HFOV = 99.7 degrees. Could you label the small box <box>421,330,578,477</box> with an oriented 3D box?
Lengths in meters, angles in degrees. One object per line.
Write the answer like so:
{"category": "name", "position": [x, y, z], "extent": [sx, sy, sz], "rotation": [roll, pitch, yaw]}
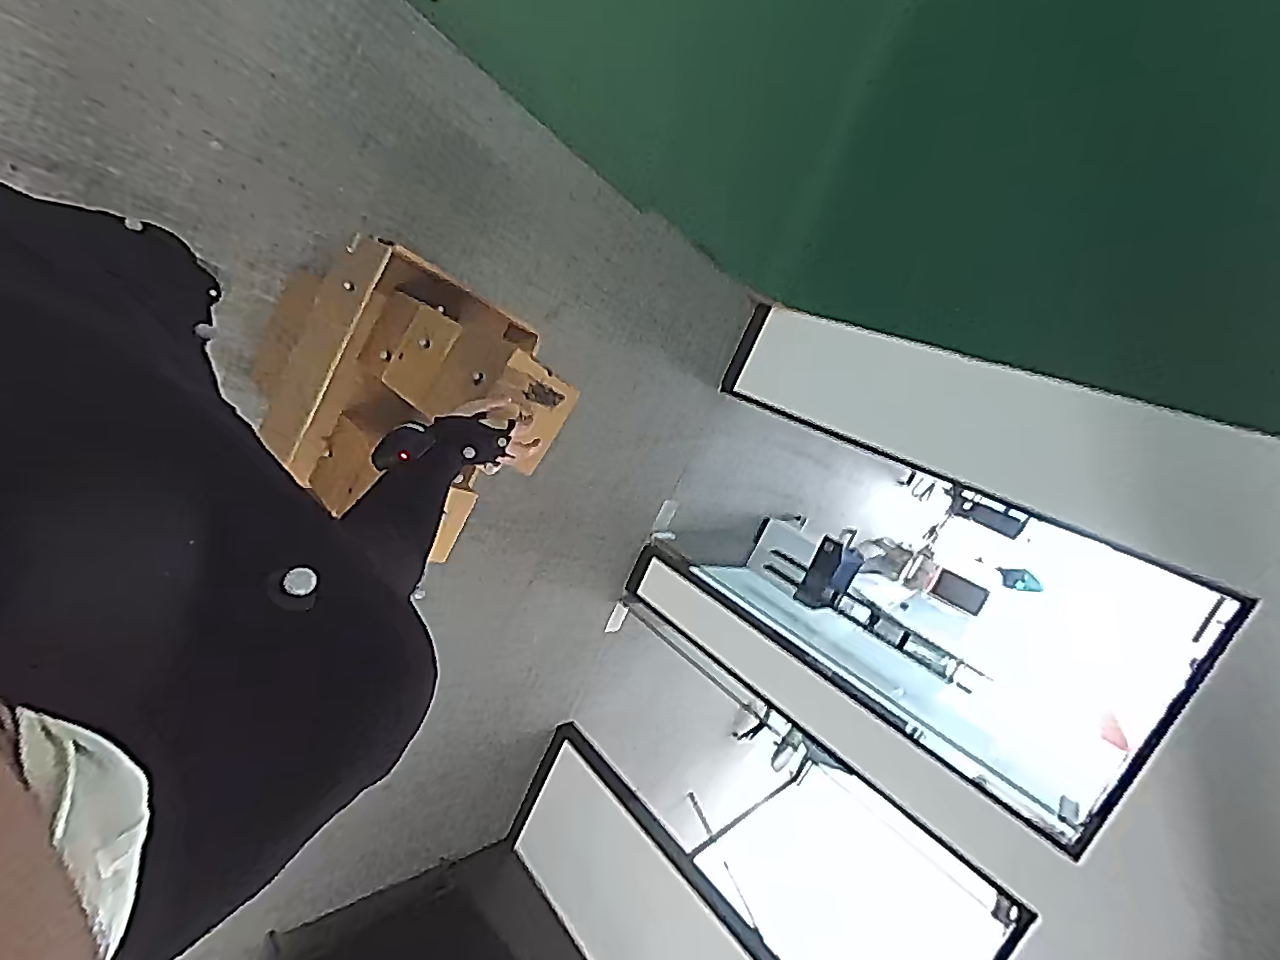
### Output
{"category": "small box", "position": [-0.249, -0.137, 0.949], "extent": [0.179, 0.176, 0.168], "rotation": [-58, 142, 0]}

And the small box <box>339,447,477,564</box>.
{"category": "small box", "position": [-0.473, 0.049, 1.094], "extent": [0.179, 0.176, 0.168], "rotation": [23, 98, -52]}

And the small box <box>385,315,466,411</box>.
{"category": "small box", "position": [-0.359, -0.202, 1.052], "extent": [0.179, 0.176, 0.168], "rotation": [27, 94, -53]}
